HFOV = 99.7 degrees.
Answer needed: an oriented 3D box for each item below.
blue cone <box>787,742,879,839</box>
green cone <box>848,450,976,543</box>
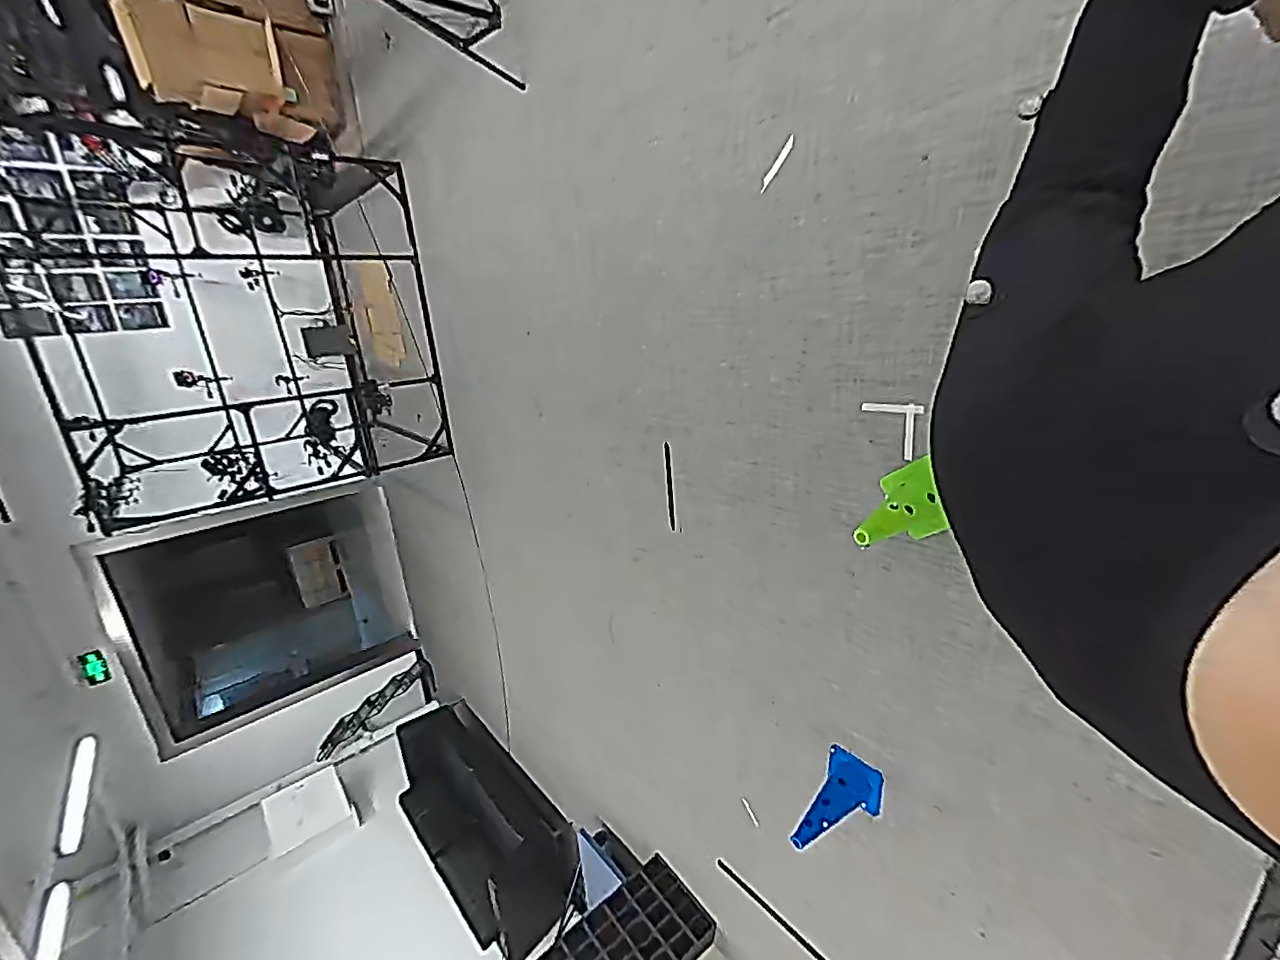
[{"bbox_3d":[0.644,1.108,1.860,0.192,0.380,0.193,22,121,47],"label":"blue cone"},{"bbox_3d":[0.652,0.080,1.387,0.202,0.368,0.200,-43,70,52],"label":"green cone"}]
